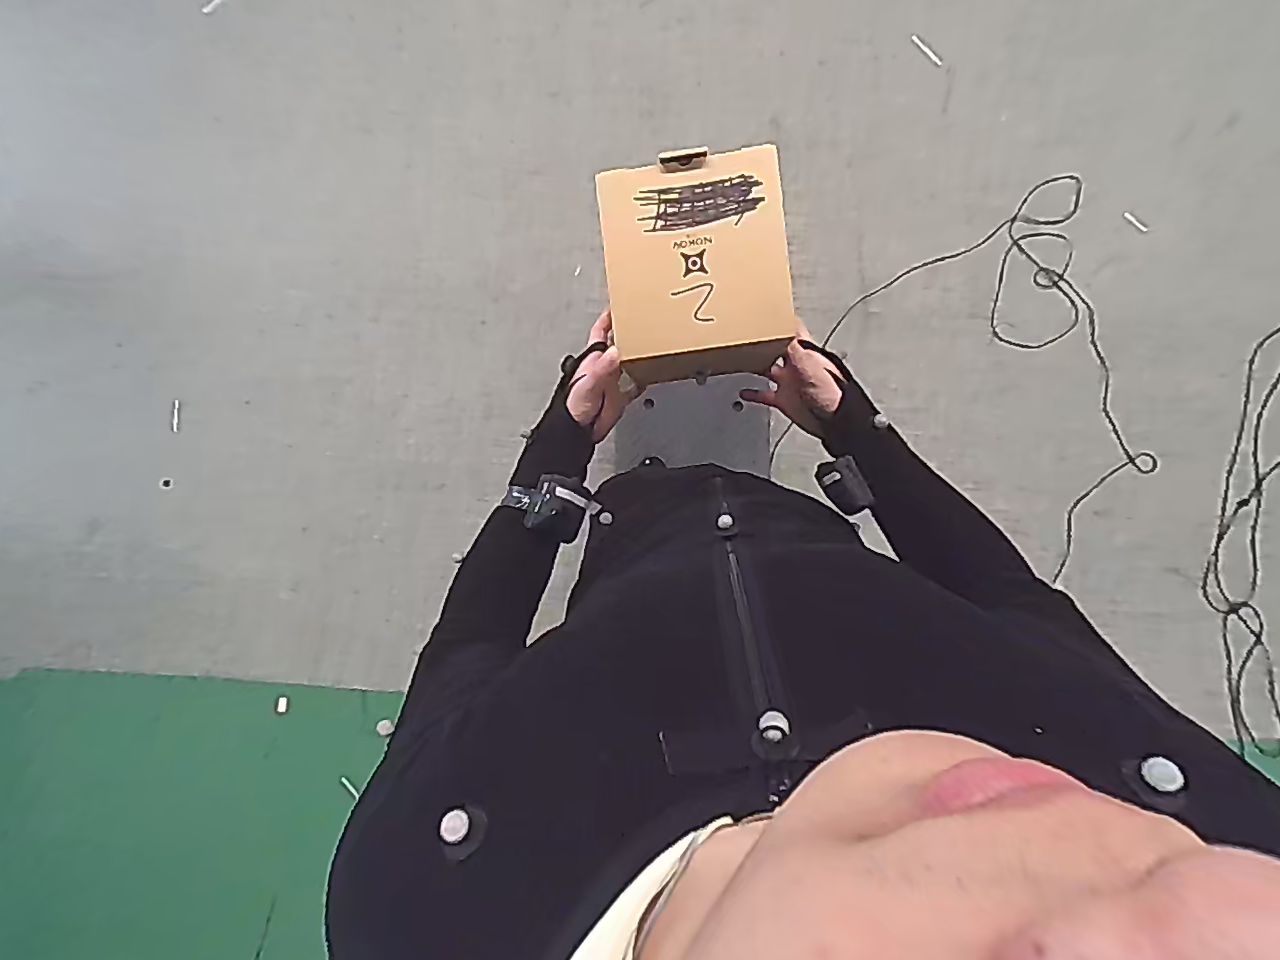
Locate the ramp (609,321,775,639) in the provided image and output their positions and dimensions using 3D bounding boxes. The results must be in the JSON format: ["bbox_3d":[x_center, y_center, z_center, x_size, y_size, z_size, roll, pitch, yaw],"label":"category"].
[{"bbox_3d":[0.166,-0.029,1.678,0.509,0.206,0.991,0,89,2],"label":"ramp"}]
